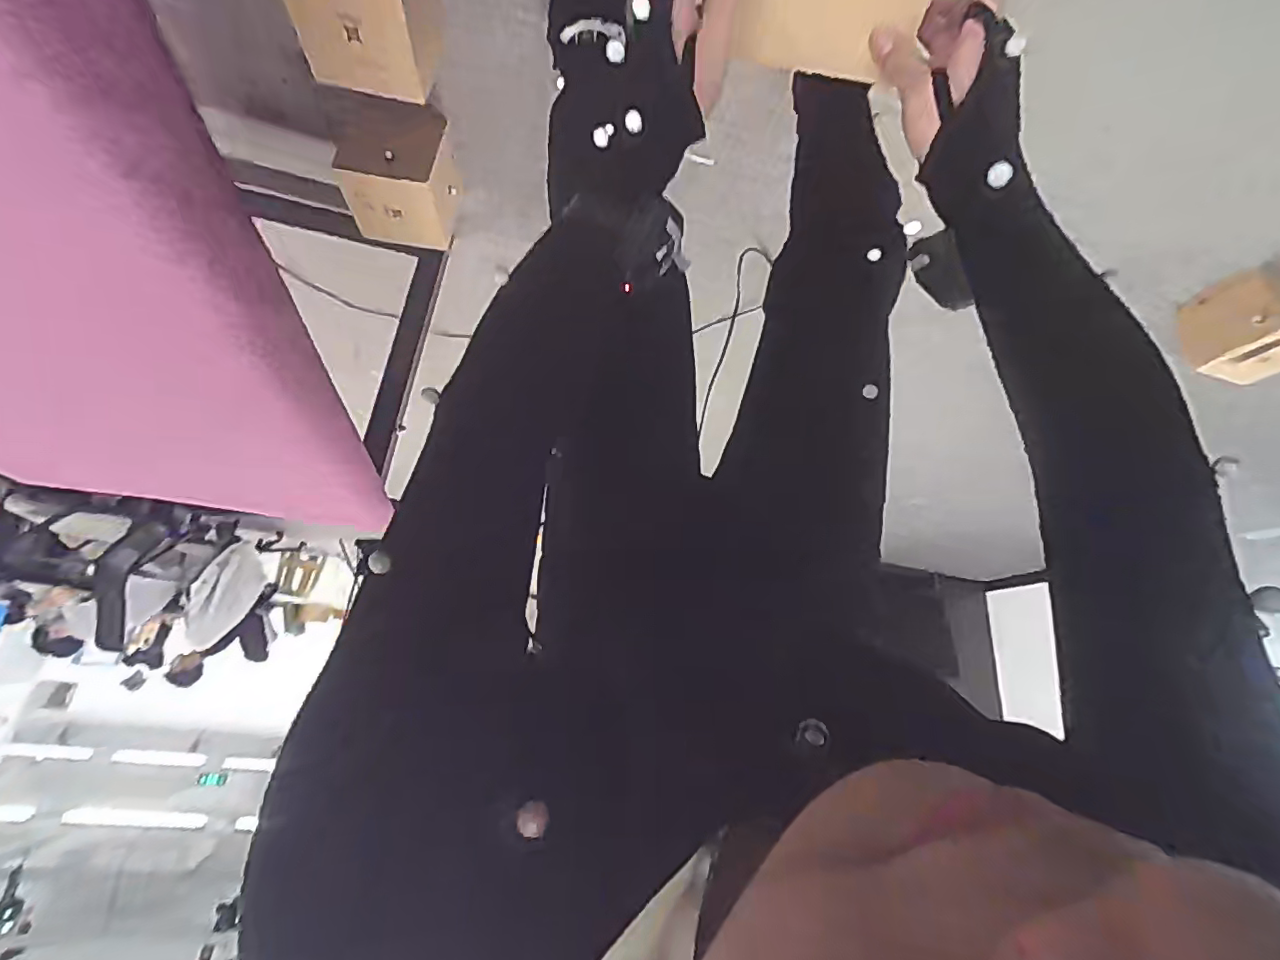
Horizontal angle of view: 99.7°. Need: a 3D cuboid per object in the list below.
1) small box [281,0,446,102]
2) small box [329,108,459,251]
[{"bbox_3d":[-0.387,-0.691,0.762,0.168,0.176,0.179,9,159,-6],"label":"small box"},{"bbox_3d":[-0.462,-0.582,1.051,0.179,0.176,0.168,8,158,-4],"label":"small box"}]
